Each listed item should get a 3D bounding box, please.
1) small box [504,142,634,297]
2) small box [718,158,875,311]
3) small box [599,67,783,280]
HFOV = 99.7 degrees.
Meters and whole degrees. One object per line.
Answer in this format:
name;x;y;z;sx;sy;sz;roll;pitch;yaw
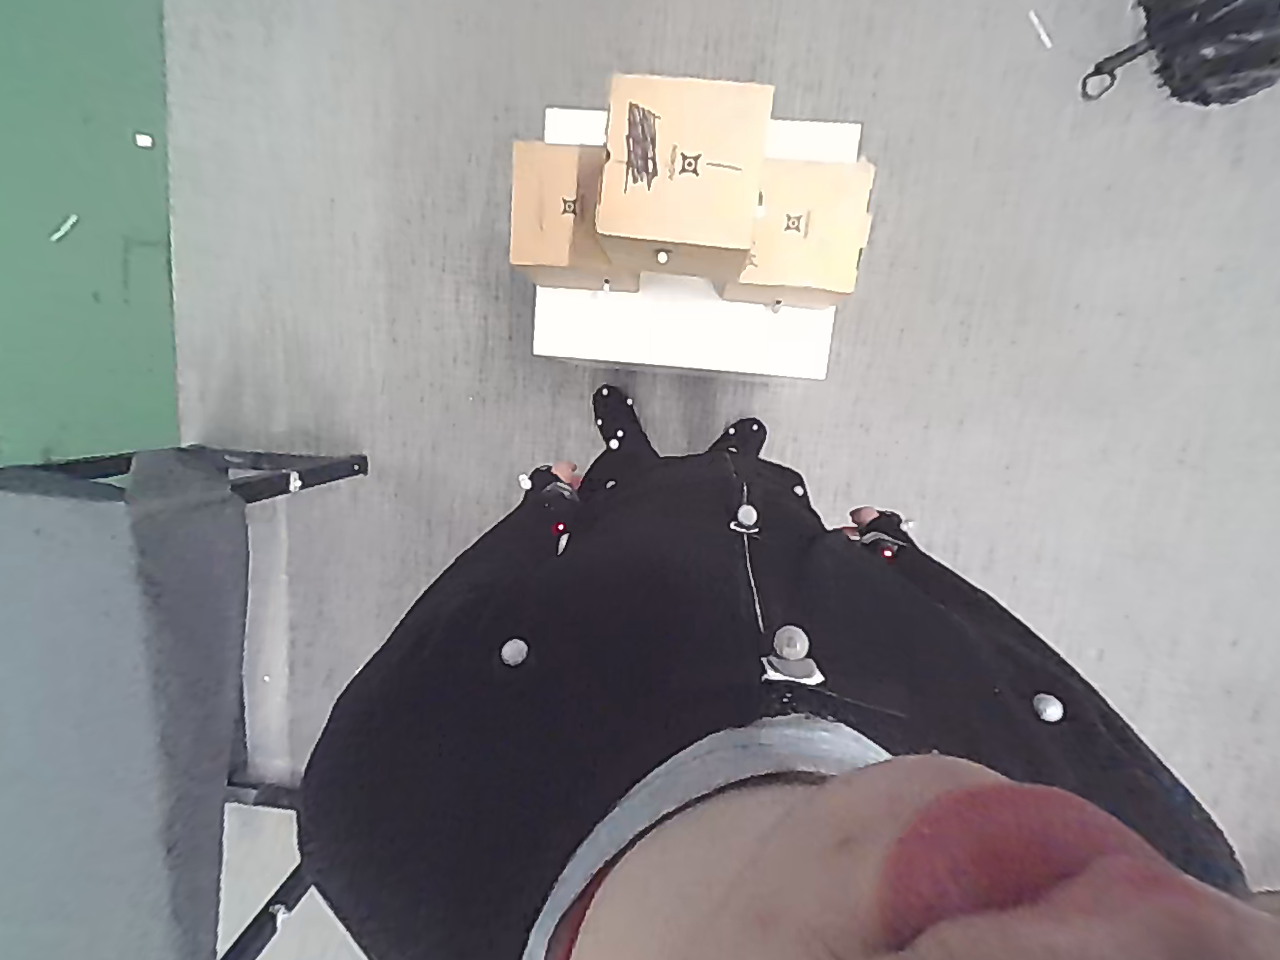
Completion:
small box;-0.094;-0.376;0.808;0.179;0.176;0.168;3;97;2
small box;0.217;-0.350;0.799;0.179;0.176;0.168;6;99;3
small box;0.055;-0.345;0.640;0.179;0.176;0.168;6;99;2
